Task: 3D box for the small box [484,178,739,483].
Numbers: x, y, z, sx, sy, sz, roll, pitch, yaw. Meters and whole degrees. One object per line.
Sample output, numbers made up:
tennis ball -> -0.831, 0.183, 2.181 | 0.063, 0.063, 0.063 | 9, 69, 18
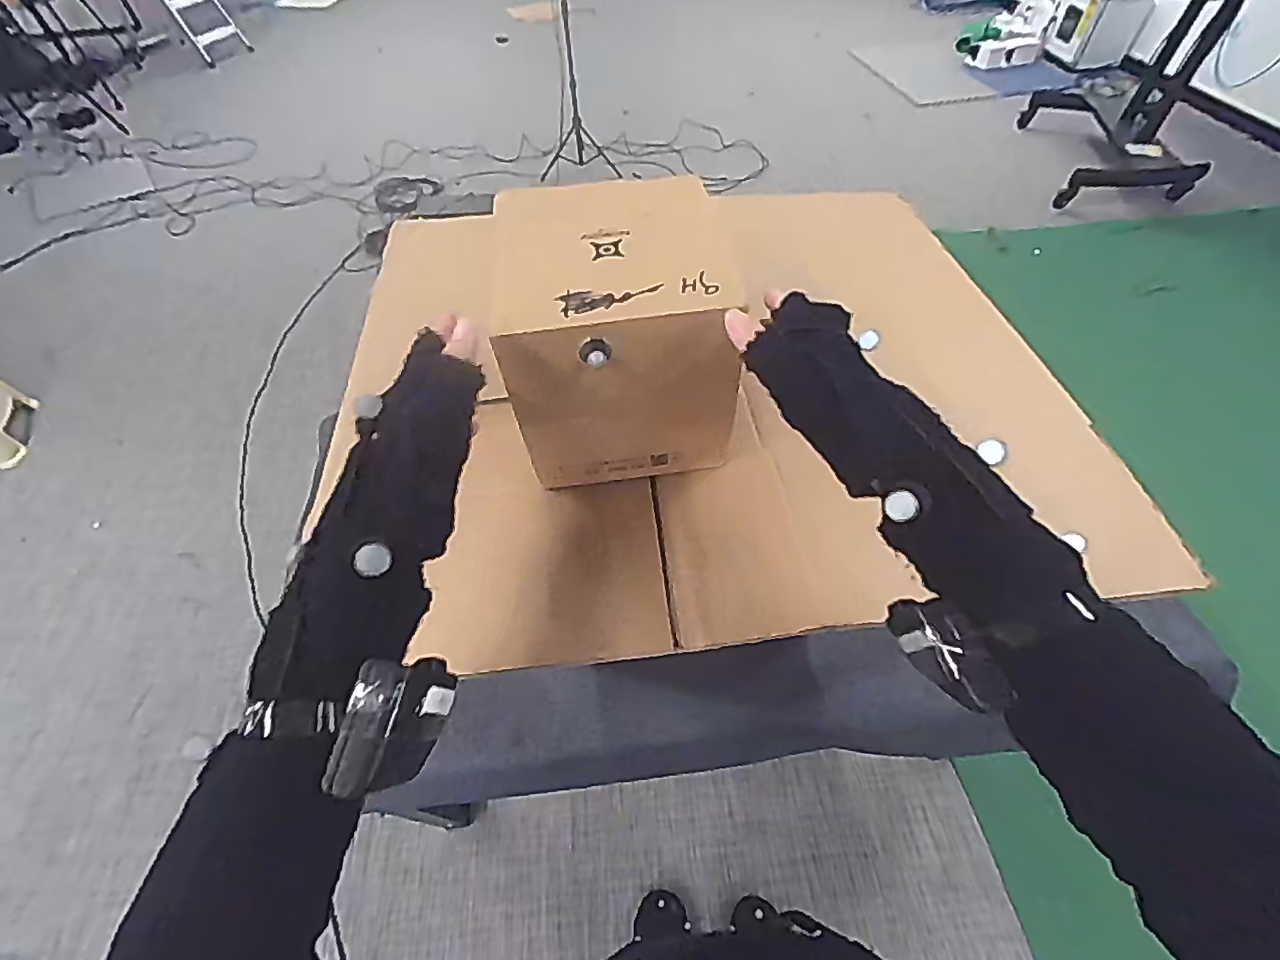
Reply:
small box -> -0.023, -0.121, 0.454 | 0.168, 0.176, 0.179 | -7, 54, -1
